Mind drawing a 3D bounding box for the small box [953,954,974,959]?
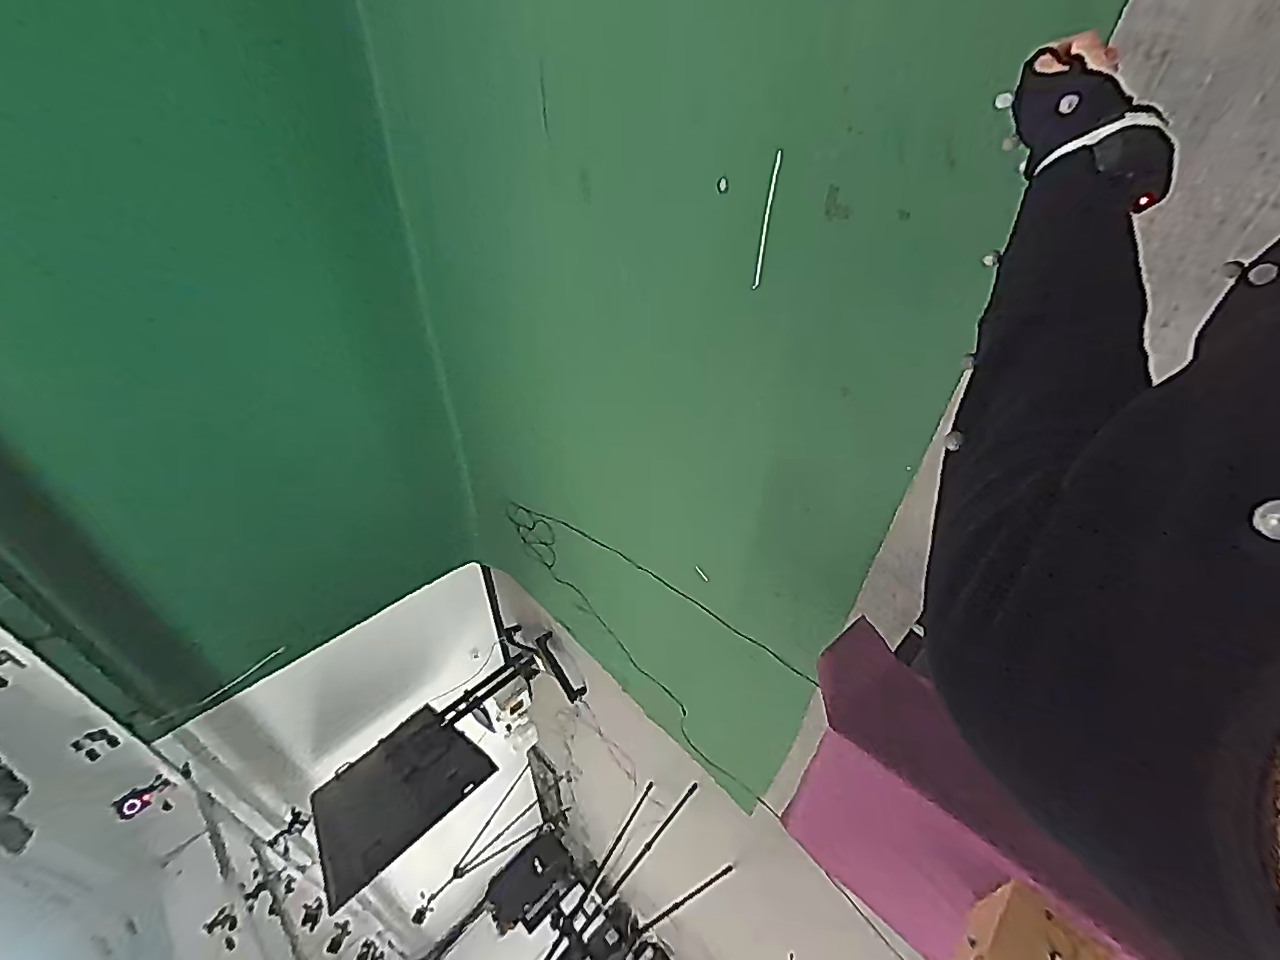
[{"bbox_3d":[0.571,0.950,0.893,0.179,0.176,0.168,35,139,32],"label":"small box"}]

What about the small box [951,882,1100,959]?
[{"bbox_3d":[0.693,0.881,0.979,0.168,0.176,0.179,34,139,32],"label":"small box"}]
